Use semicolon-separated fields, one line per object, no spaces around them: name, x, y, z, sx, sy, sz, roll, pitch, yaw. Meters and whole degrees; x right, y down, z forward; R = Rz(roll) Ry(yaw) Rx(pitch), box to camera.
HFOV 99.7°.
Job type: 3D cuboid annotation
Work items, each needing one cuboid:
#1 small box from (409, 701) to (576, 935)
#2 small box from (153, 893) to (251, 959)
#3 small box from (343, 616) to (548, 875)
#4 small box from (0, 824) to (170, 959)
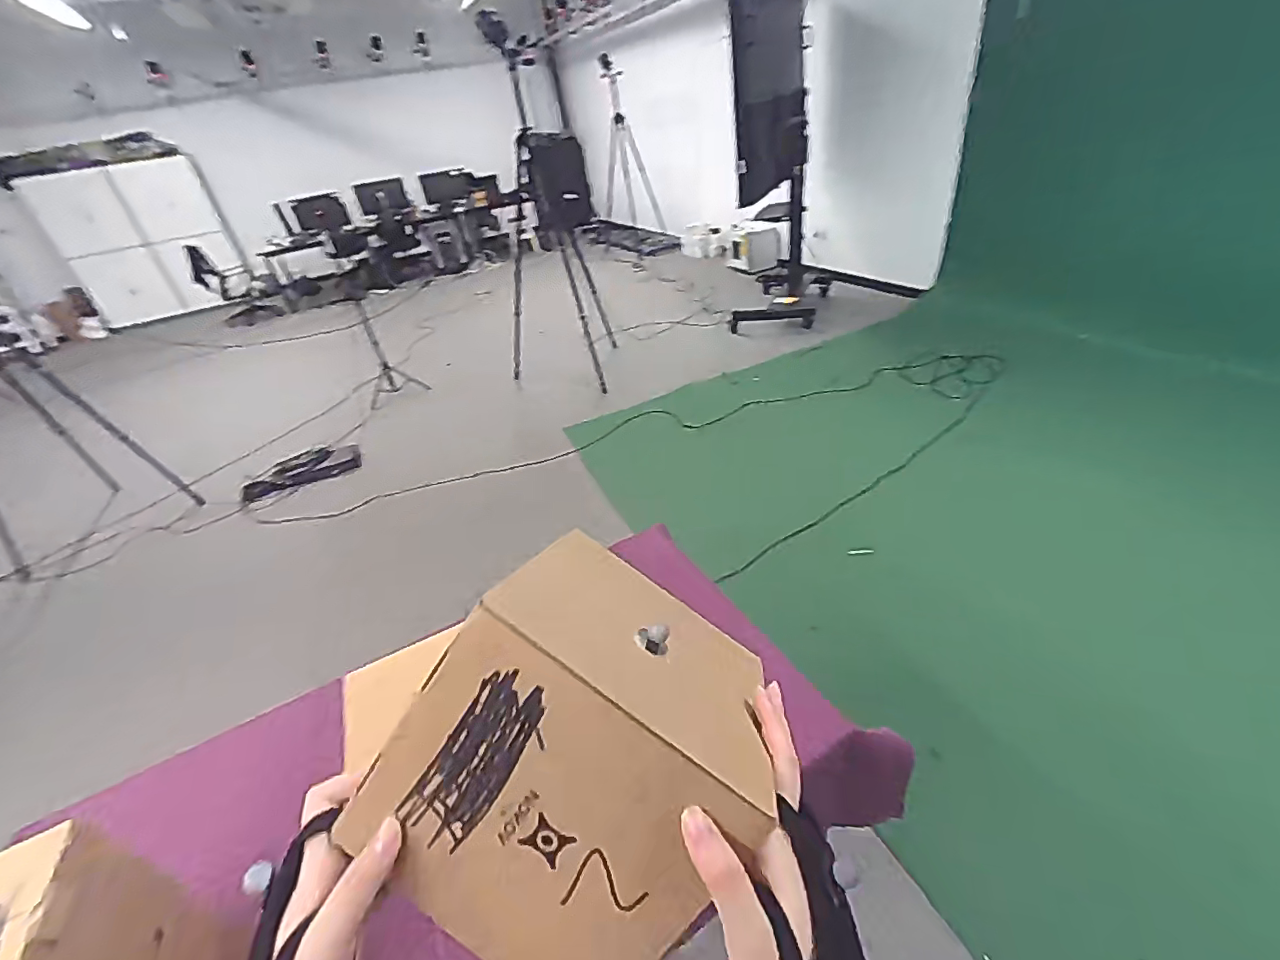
small box;-0.194;0.438;0.711;0.179;0.176;0.168;-22;36;-18
small box;-0.557;0.598;0.569;0.179;0.176;0.168;-21;37;-17
small box;-0.223;0.301;0.627;0.168;0.176;0.179;-22;37;-17
small box;-0.576;0.461;0.480;0.179;0.176;0.168;-22;37;-17
